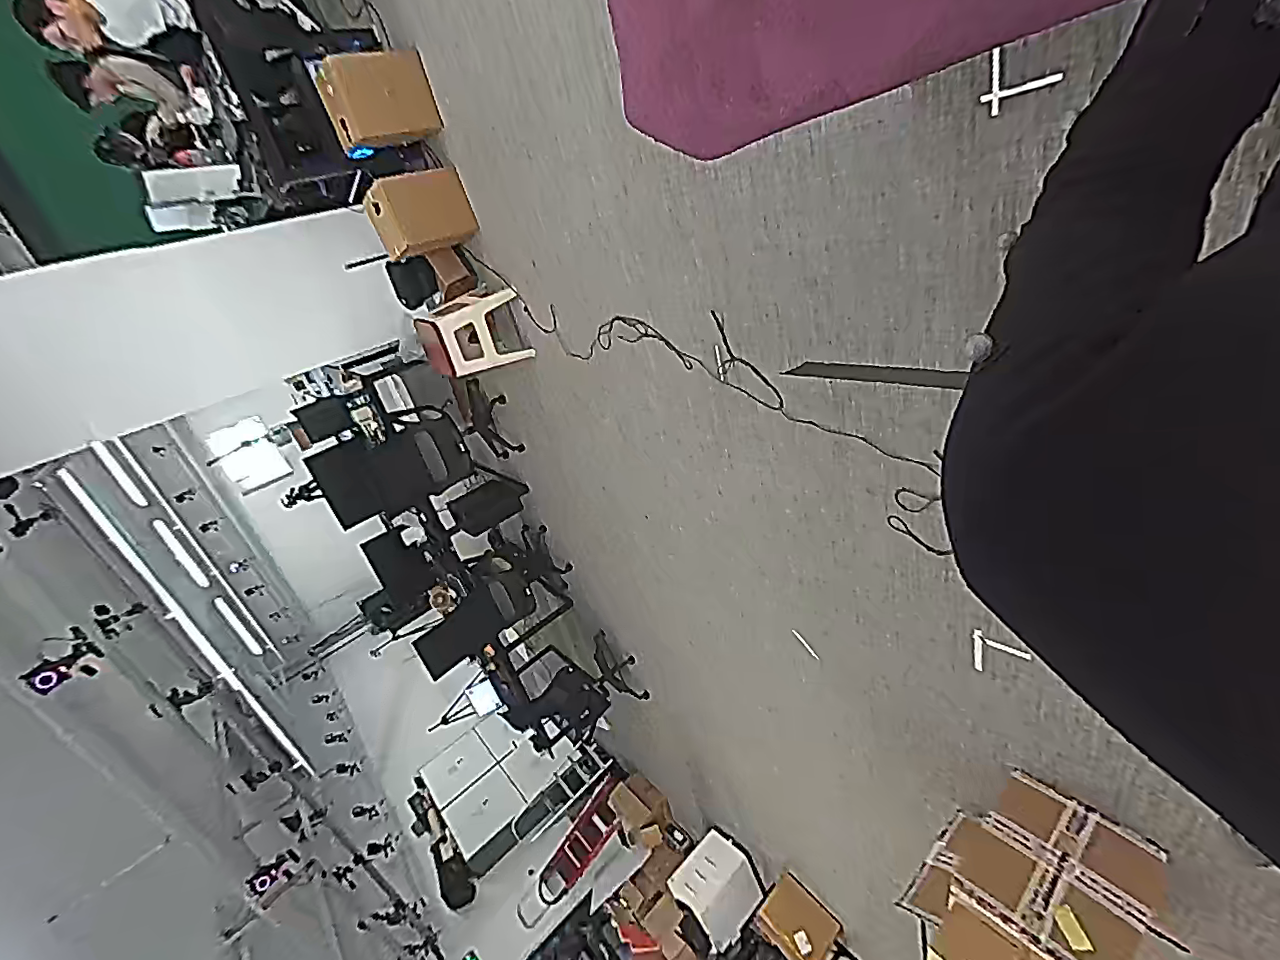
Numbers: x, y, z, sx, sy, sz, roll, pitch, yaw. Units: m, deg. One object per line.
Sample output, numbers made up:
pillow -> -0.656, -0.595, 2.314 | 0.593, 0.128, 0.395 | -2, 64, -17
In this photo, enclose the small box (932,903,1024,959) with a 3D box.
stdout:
small box -> 0.967, 1.384, 1.550 | 0.179, 0.176, 0.168 | 20, 131, 51
